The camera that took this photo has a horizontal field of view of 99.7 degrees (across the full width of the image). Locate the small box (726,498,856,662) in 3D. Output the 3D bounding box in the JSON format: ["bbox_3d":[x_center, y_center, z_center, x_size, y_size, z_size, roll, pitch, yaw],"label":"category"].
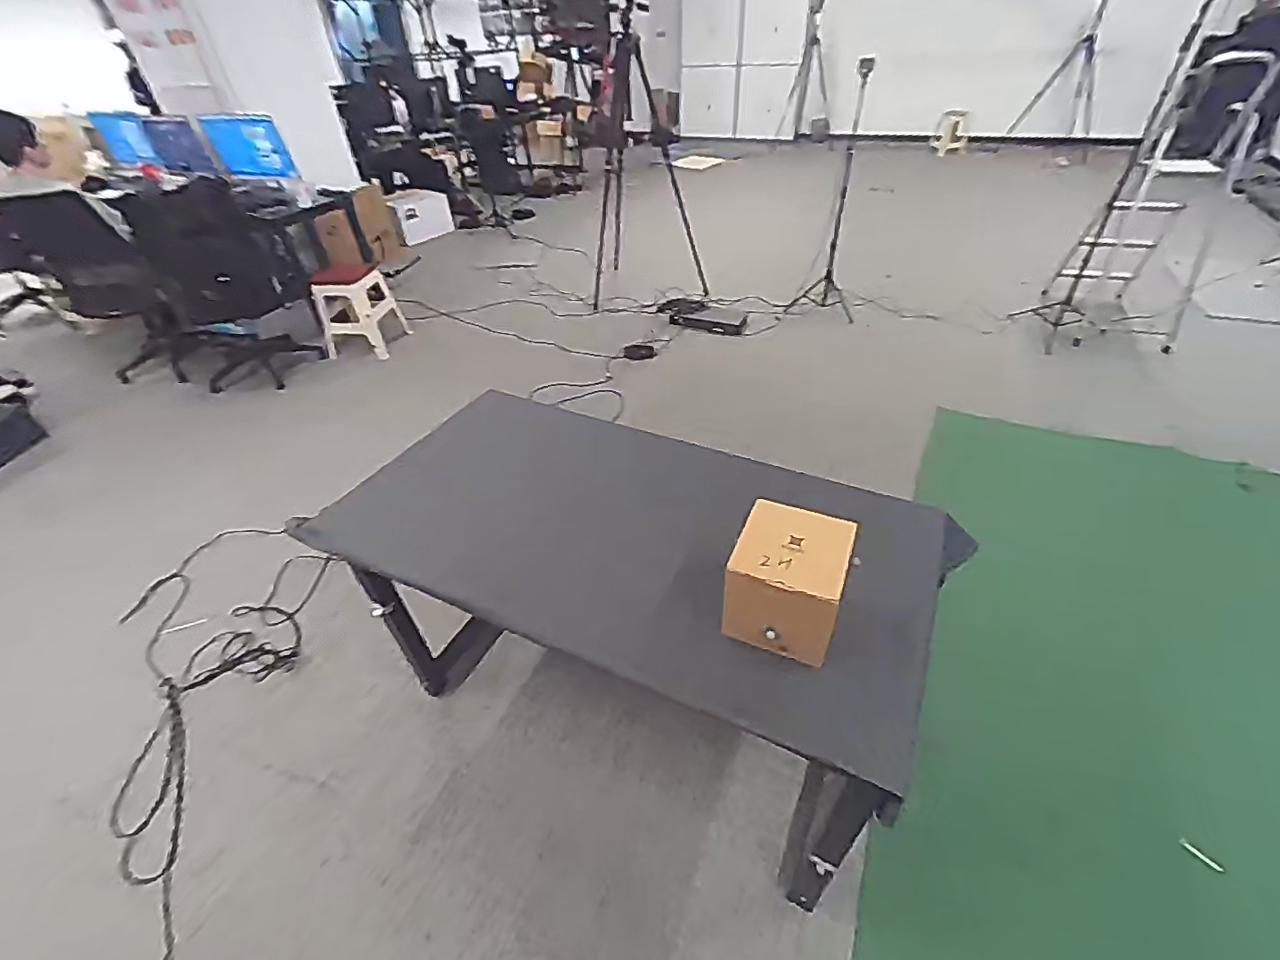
[{"bbox_3d":[0.244,0.161,0.892,0.168,0.176,0.179,14,43,22],"label":"small box"}]
